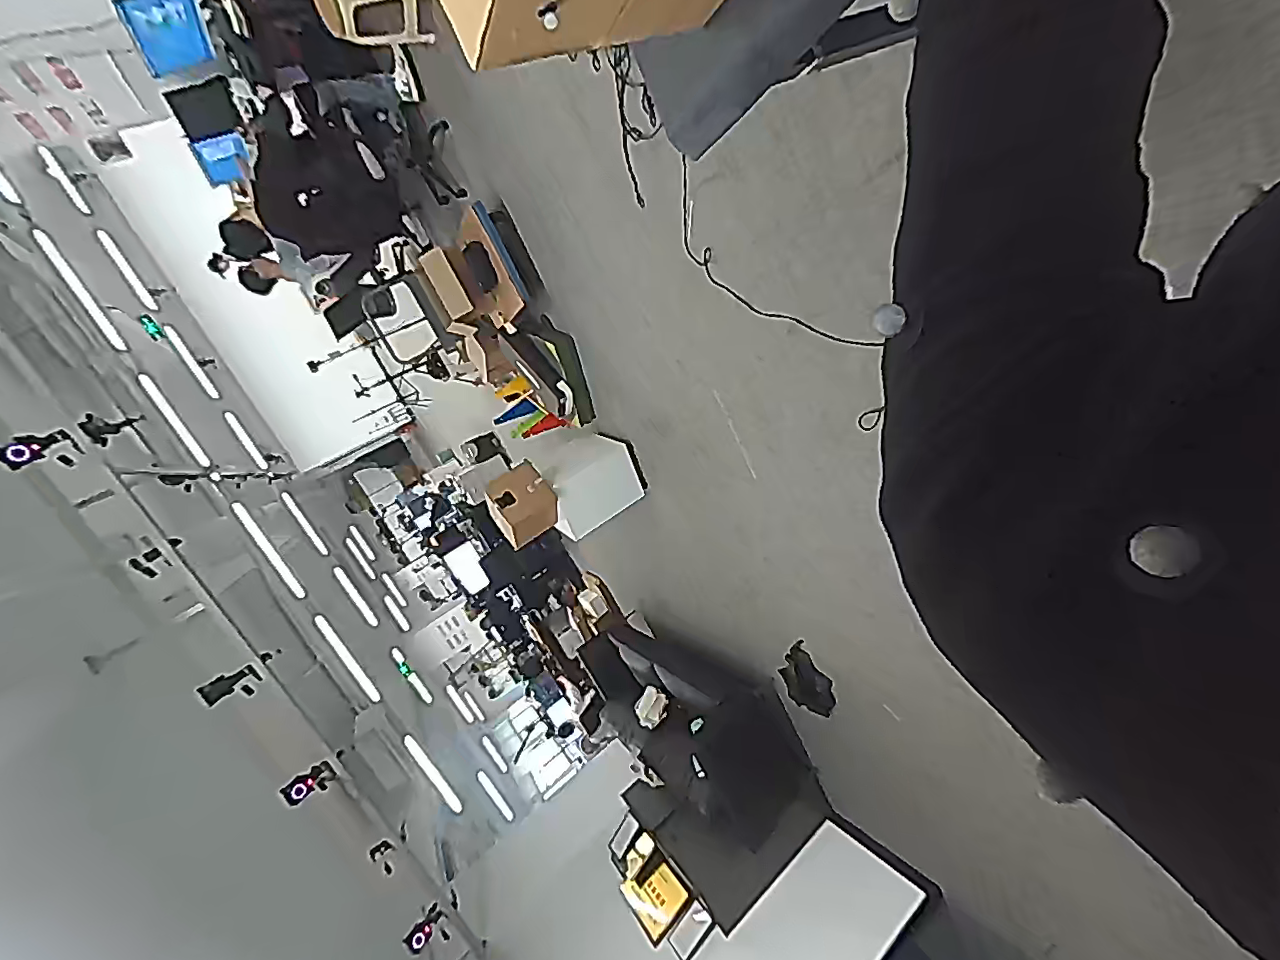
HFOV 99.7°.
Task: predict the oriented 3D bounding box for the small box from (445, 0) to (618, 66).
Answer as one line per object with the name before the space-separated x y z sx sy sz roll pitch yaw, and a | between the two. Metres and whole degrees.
small box | -0.107 -0.549 0.517 0.168 0.176 0.179 63 157 -12

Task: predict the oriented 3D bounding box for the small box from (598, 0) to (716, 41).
small box | 0.024 -0.626 0.578 0.179 0.176 0.168 6 124 62
